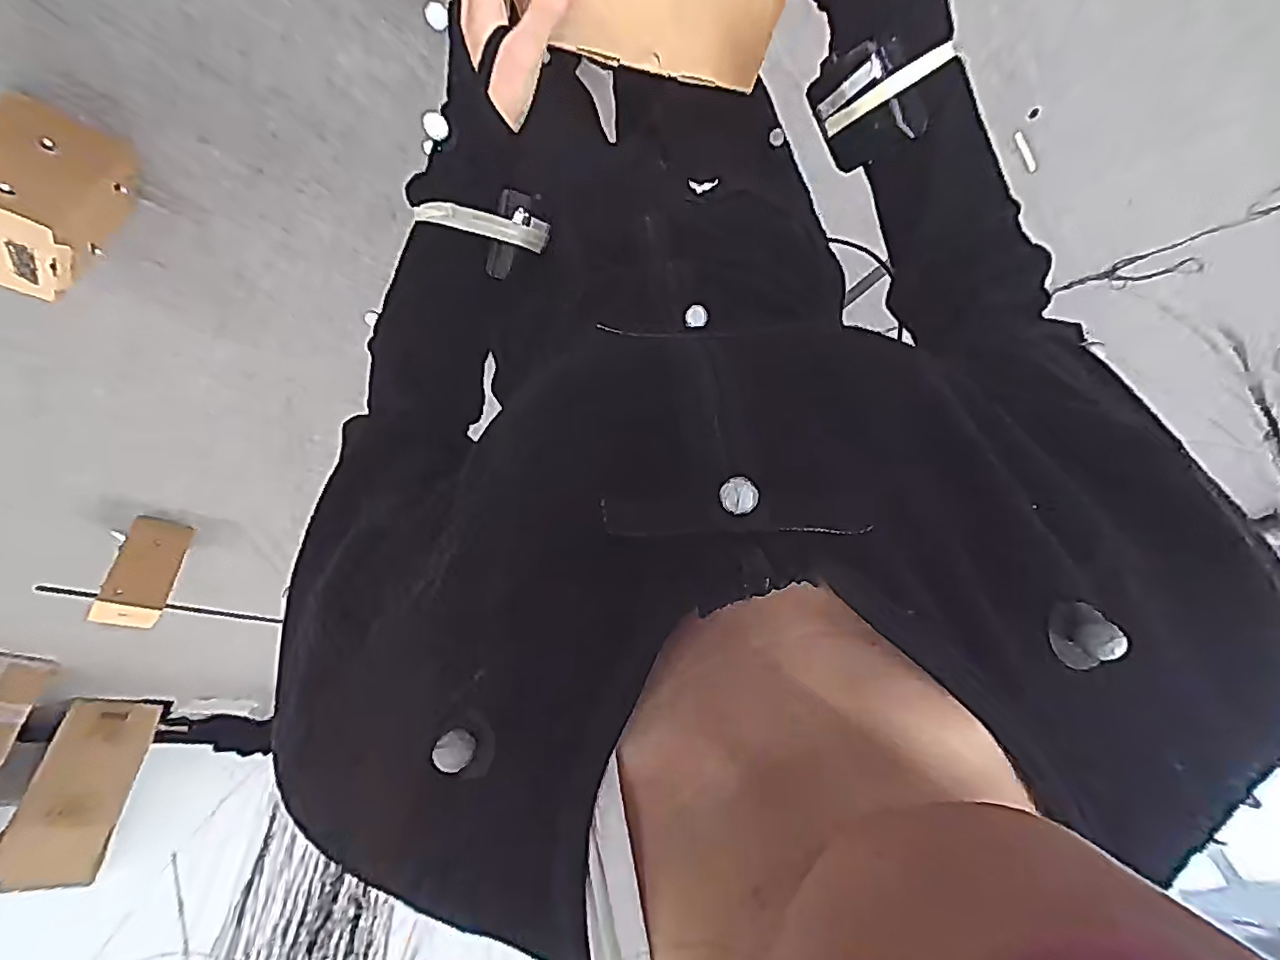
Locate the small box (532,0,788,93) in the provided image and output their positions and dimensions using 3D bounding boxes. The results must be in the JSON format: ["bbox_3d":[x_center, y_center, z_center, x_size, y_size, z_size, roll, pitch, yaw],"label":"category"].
[{"bbox_3d":[0.009,-0.396,0.346,0.168,0.176,0.179,-4,146,-22],"label":"small box"}]

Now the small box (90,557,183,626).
[{"bbox_3d":[-1.737,0.383,1.871,0.168,0.176,0.179,-36,137,31],"label":"small box"}]

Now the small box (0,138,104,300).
[{"bbox_3d":[-1.076,-0.456,0.934,0.179,0.176,0.168,20,133,-33],"label":"small box"}]

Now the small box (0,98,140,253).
[{"bbox_3d":[-1.104,-0.583,1.036,0.179,0.176,0.168,20,133,-32],"label":"small box"}]
